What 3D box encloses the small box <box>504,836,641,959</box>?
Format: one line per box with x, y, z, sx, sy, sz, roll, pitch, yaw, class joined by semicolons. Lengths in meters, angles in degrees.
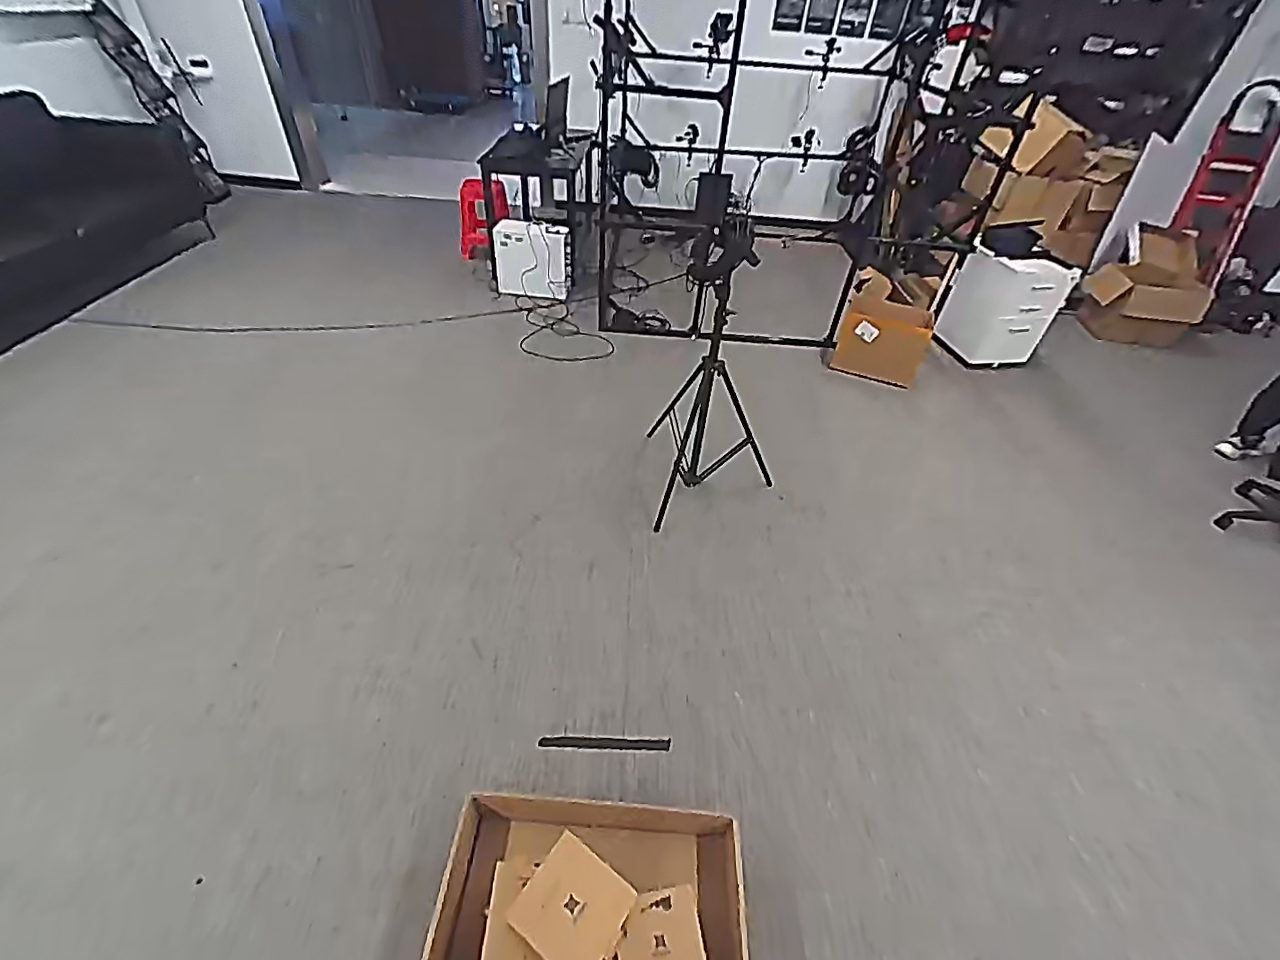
-0.119;0.797;0.973;0.179;0.176;0.168;26;43;24;small box
